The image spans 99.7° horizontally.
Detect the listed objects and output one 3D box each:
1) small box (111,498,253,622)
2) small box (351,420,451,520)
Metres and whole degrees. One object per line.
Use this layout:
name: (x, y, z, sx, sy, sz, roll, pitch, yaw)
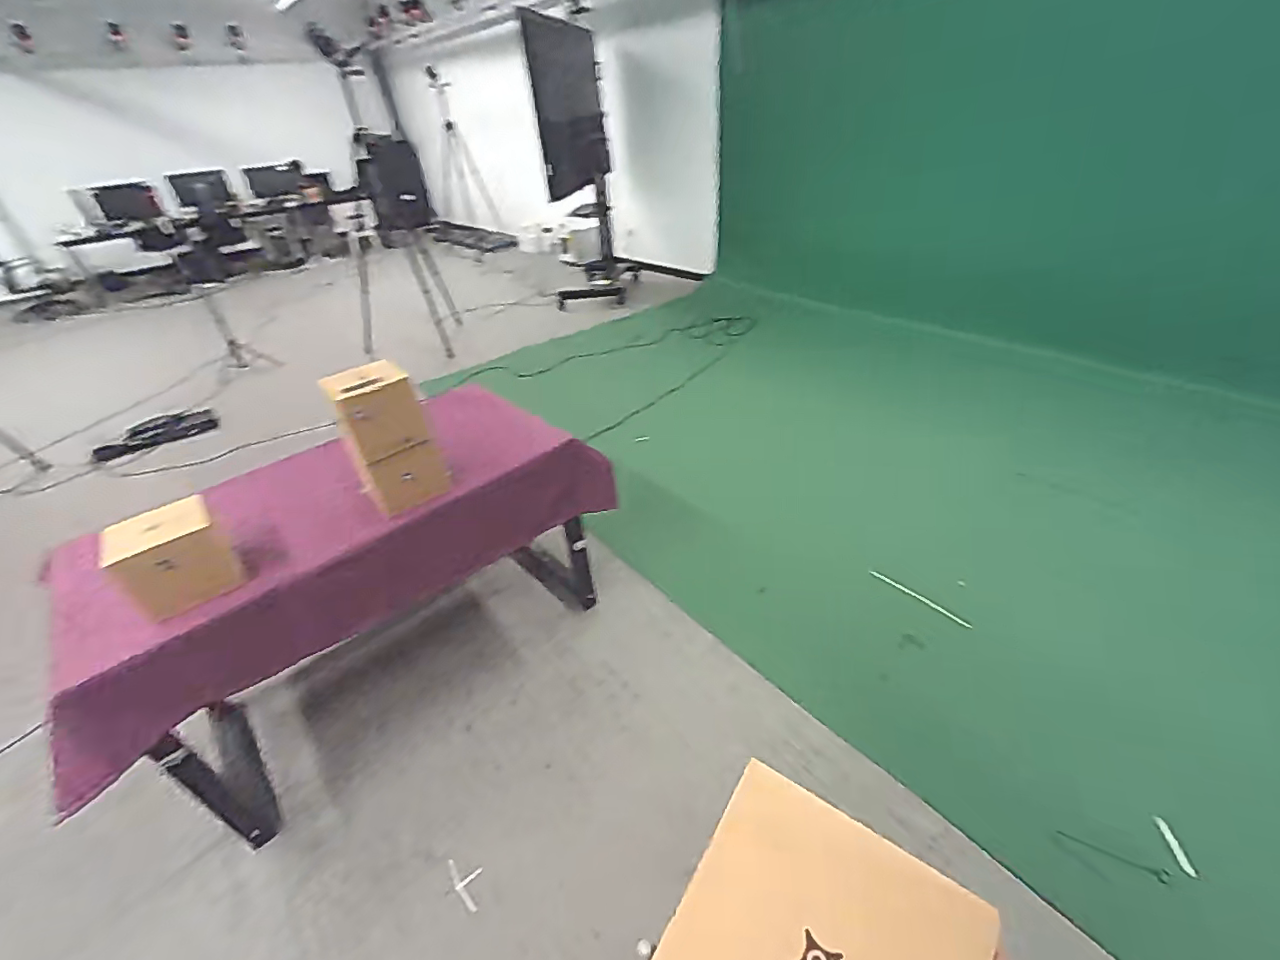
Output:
small box: (-0.987, 0.173, 1.173, 0.179, 0.176, 0.168, -29, 41, -29)
small box: (-0.614, -0.028, 1.411, 0.179, 0.176, 0.168, -29, 40, -29)
